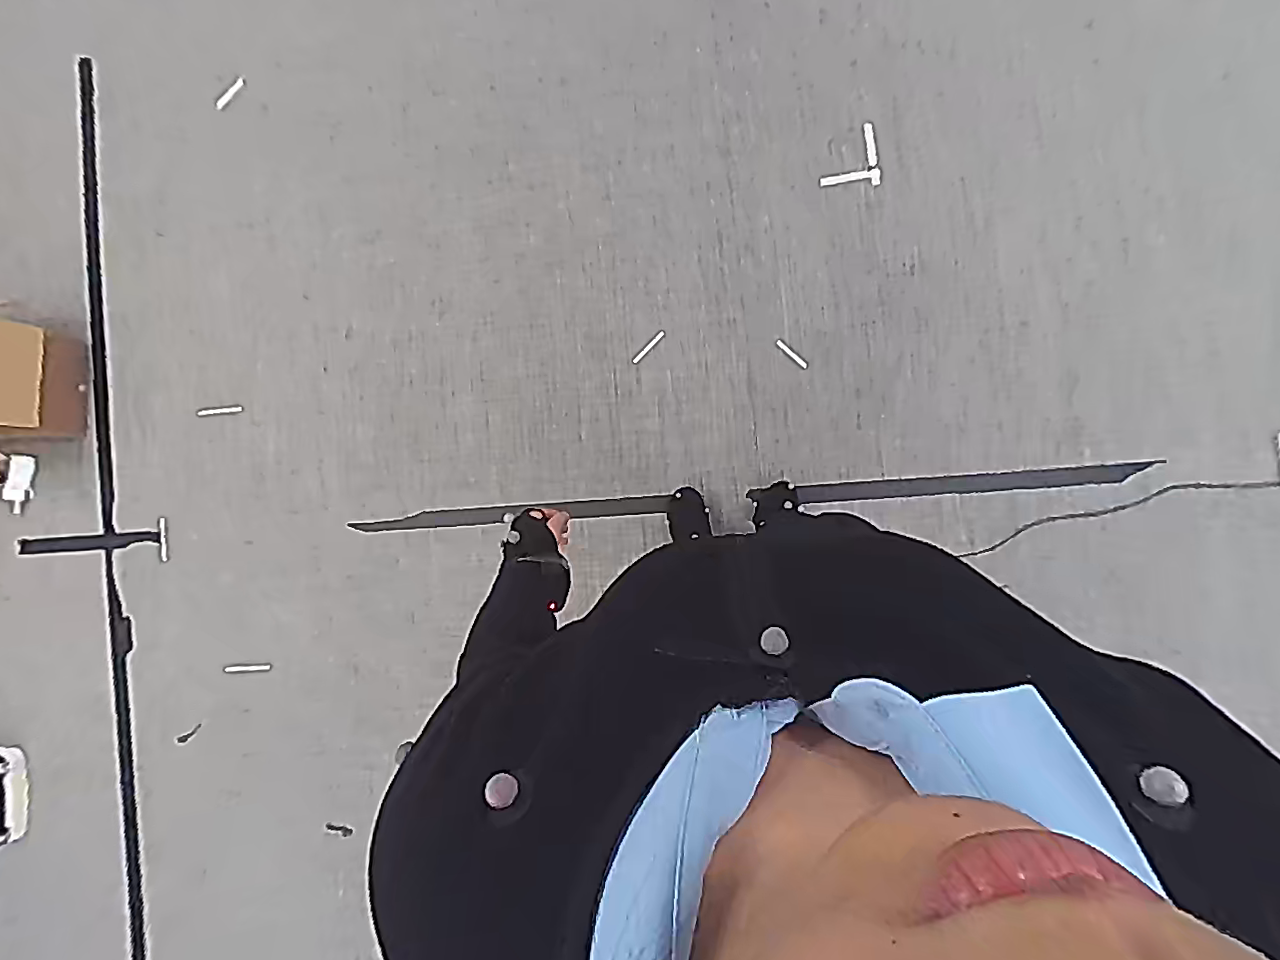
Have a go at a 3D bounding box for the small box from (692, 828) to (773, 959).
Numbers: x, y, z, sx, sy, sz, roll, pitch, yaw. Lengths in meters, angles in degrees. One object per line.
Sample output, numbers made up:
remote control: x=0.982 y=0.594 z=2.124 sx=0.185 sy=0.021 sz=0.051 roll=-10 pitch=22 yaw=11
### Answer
small box: x=0.202 y=0.917 z=1.205 sx=0.168 sy=0.176 sz=0.179 roll=-3 pitch=88 yaw=6
